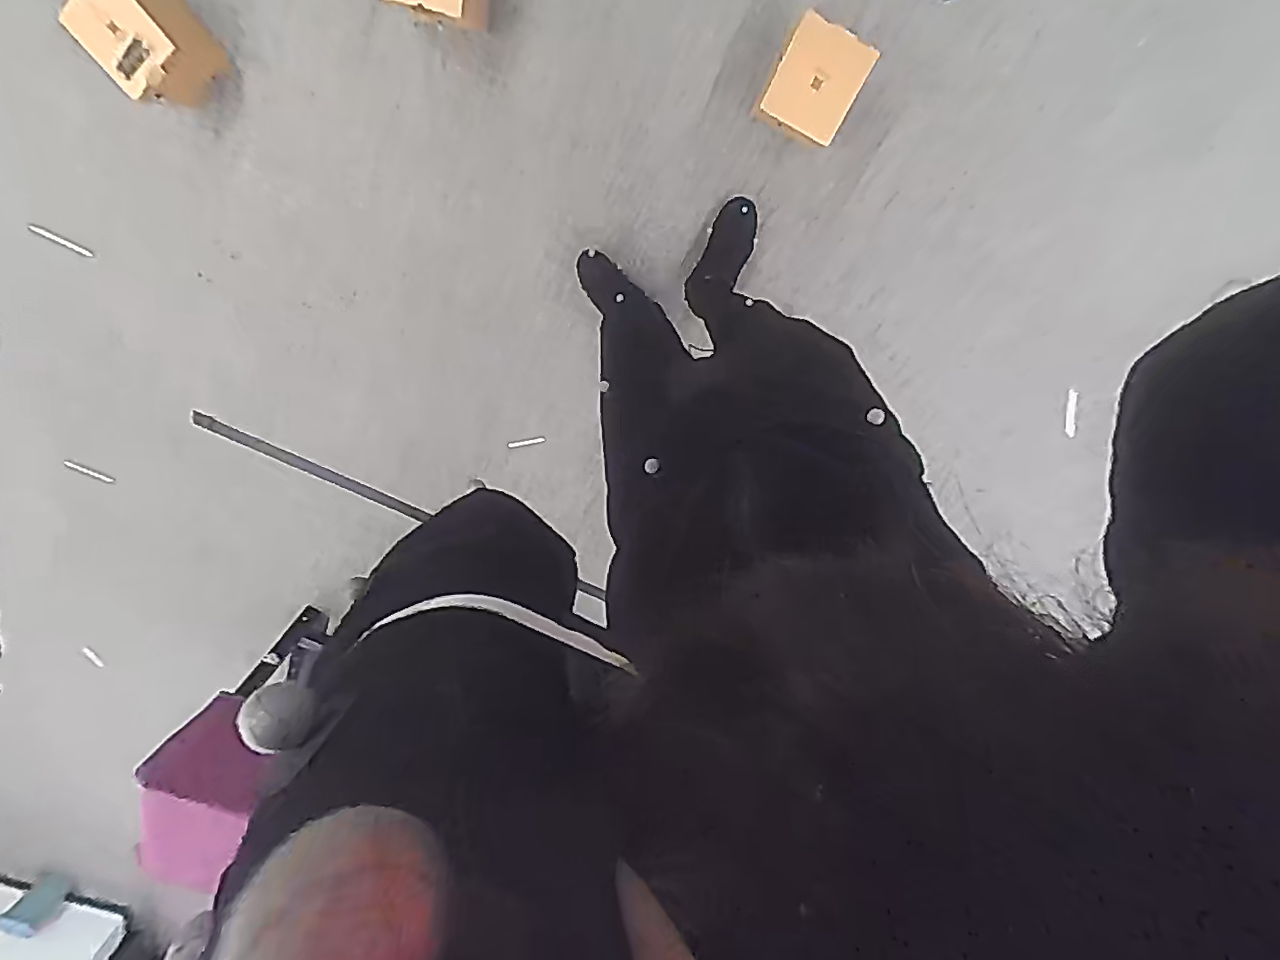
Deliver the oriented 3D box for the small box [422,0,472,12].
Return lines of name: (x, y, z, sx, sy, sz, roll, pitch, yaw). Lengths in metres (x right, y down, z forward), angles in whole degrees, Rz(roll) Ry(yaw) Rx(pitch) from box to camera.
small box: (-0.425, -1.051, 1.045, 0.168, 0.176, 0.179, 12, 122, -4)

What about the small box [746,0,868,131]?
small box: (0.332, -0.853, 1.119, 0.168, 0.176, 0.179, 24, 119, -10)
